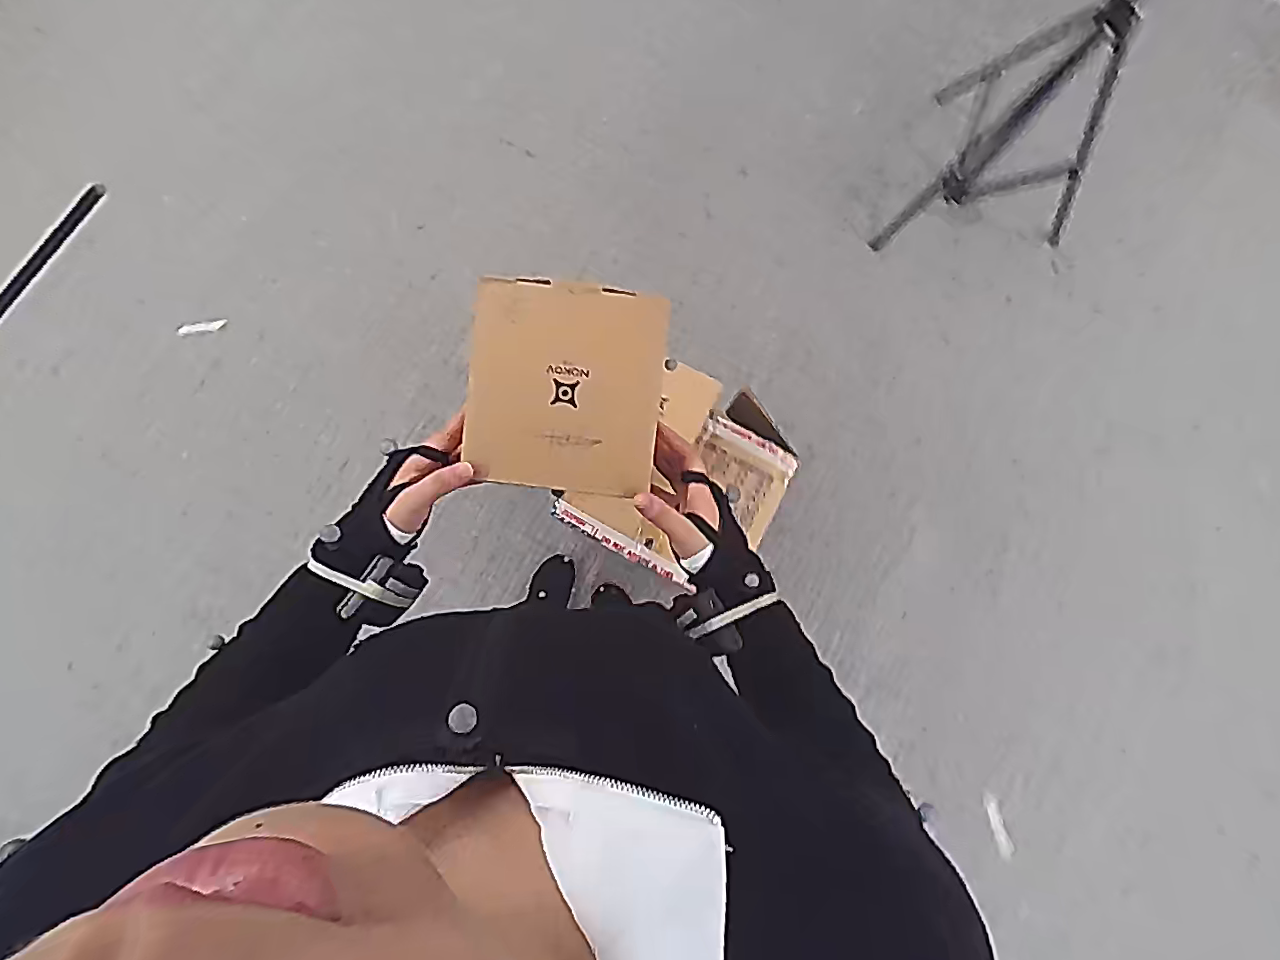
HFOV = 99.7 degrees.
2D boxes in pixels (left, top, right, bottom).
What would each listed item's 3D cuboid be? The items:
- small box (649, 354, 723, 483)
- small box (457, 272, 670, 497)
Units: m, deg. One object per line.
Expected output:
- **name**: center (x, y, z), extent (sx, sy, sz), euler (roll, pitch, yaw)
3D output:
- **small box**: center (0.029, -0.114, 0.985), extent (0.168, 0.176, 0.179), euler (28, 83, 4)
- **small box**: center (-0.069, -0.084, 0.538), extent (0.168, 0.176, 0.179), euler (6, 93, -2)
